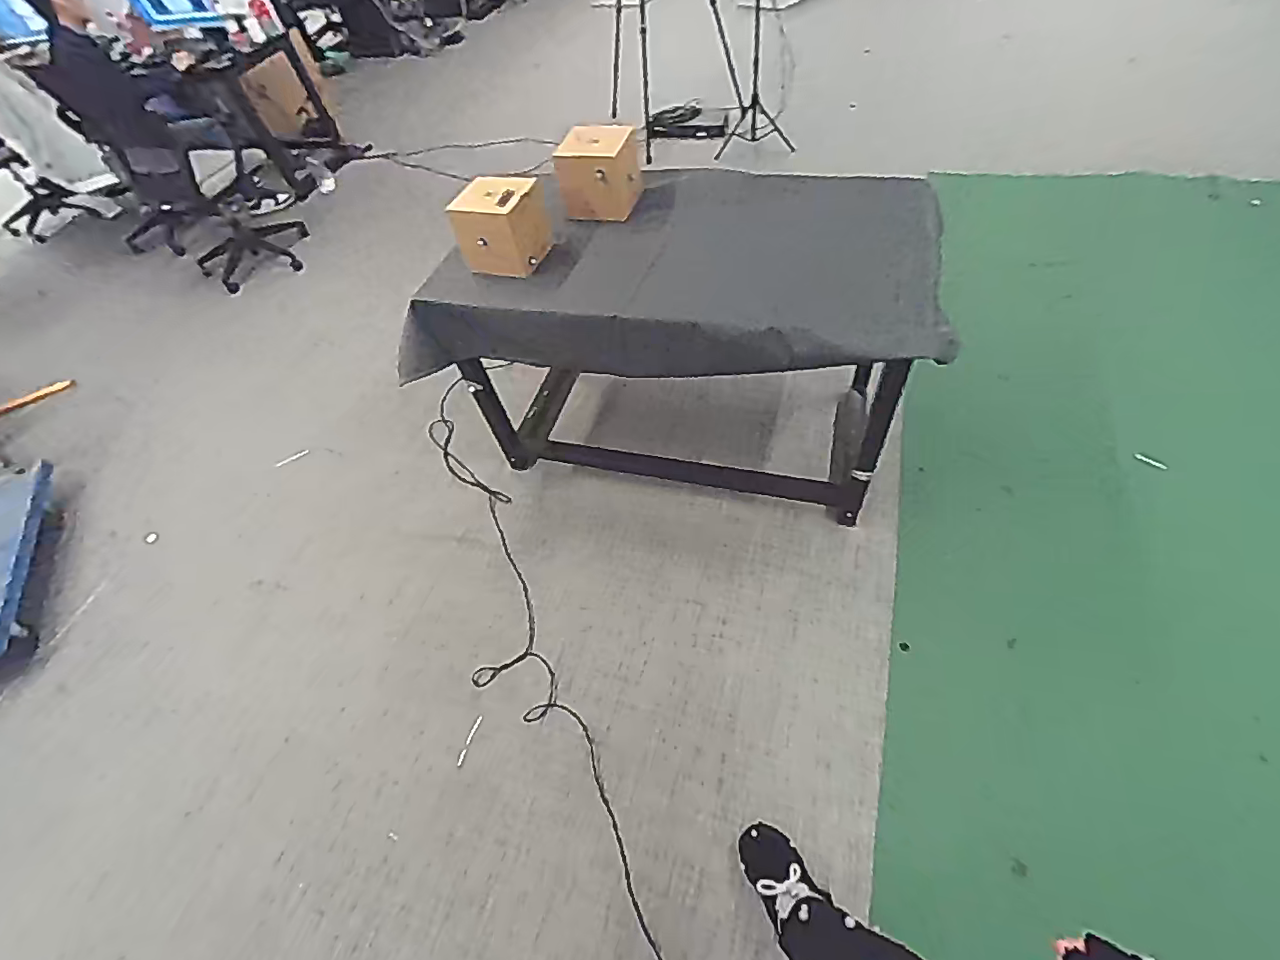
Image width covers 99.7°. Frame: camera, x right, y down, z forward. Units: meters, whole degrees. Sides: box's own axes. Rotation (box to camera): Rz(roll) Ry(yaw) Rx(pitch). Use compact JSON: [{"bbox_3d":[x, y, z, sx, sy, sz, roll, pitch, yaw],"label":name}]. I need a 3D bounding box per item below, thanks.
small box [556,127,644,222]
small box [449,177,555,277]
[{"bbox_3d":[-0.099,-0.815,1.448,0.179,0.176,0.168,10,57,16],"label":"small box"},{"bbox_3d":[-0.335,-0.631,1.354,0.179,0.176,0.168,12,57,18],"label":"small box"}]
